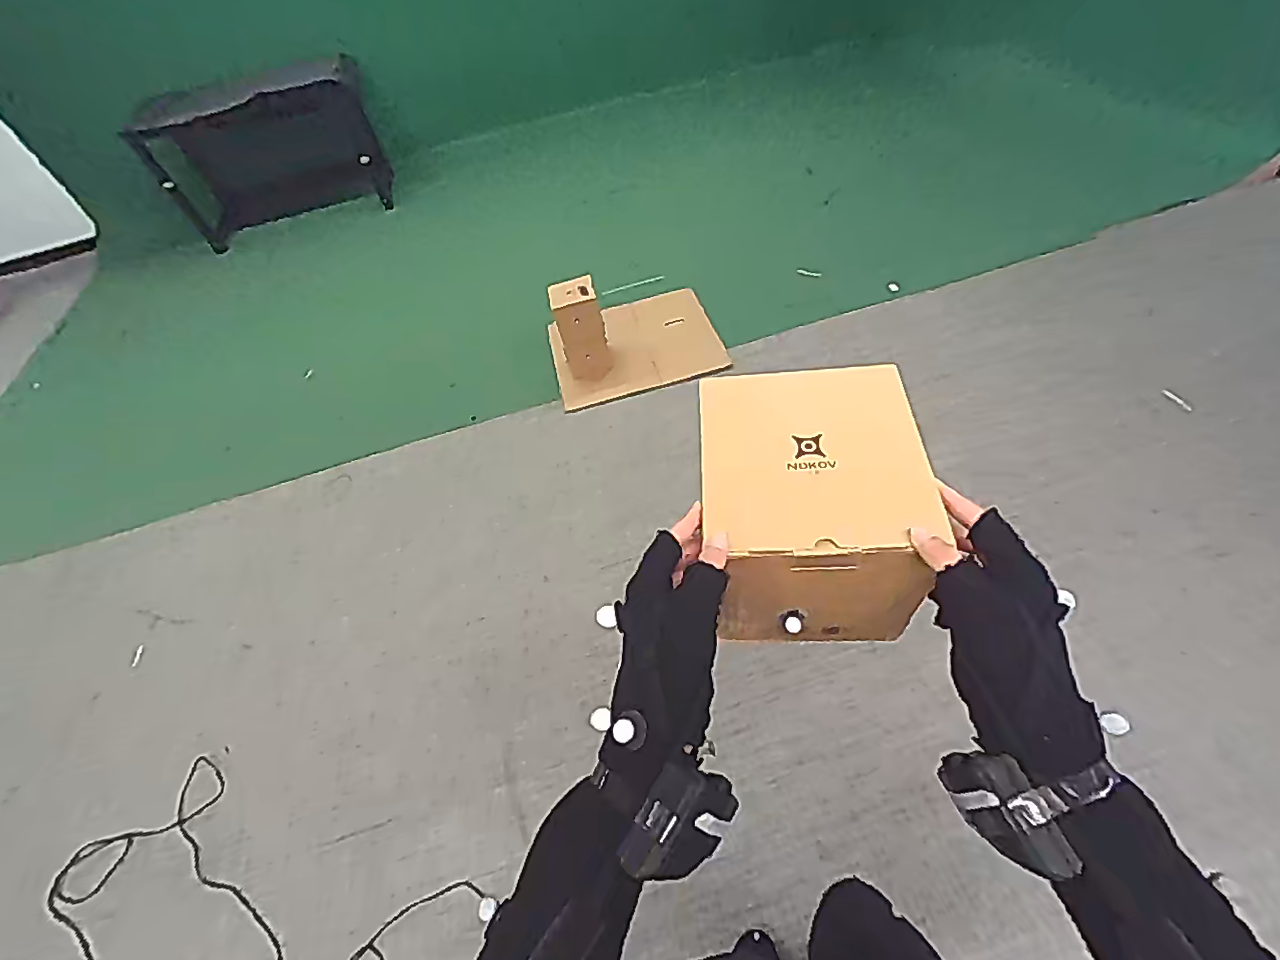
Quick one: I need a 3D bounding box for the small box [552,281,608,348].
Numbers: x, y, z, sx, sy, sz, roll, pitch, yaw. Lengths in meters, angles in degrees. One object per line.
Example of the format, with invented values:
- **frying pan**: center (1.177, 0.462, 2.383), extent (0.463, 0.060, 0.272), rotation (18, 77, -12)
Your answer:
- **small box**: center (-0.231, -0.645, 2.116), extent (0.179, 0.176, 0.168), rotation (-15, 50, 2)
